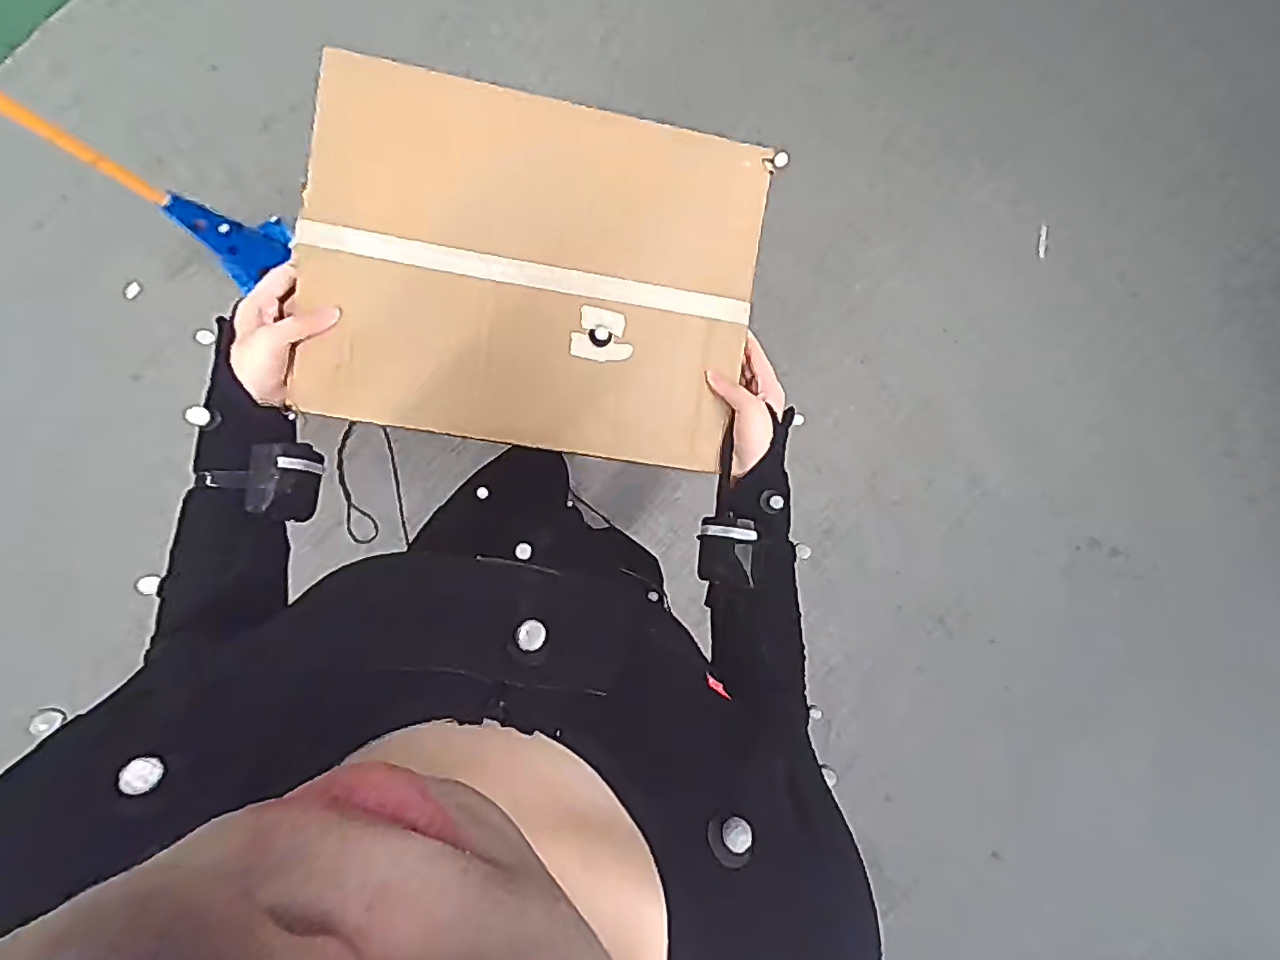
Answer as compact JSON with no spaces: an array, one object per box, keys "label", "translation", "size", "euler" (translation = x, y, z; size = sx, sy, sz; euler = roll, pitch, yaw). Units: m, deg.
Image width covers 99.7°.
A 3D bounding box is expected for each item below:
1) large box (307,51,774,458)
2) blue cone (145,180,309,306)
[{"label":"large box","translation":[-0.107,-0.209,0.651],"size":[0.408,0.320,0.320],"euler":[9,94,-9]},{"label":"blue cone","translation":[-0.988,-0.579,1.274],"size":[0.193,0.380,0.192],"euler":[-36,92,-3]}]
